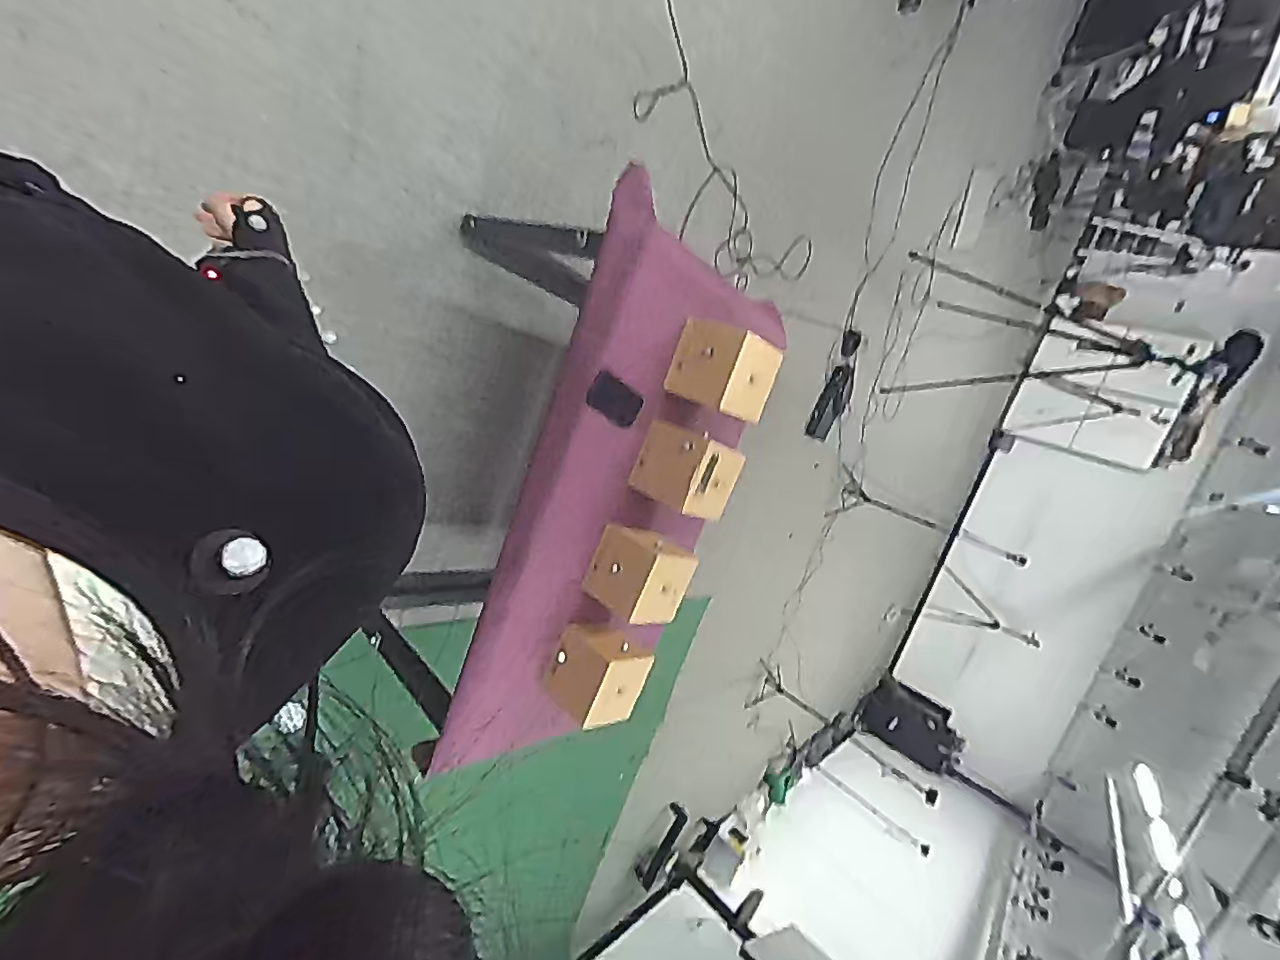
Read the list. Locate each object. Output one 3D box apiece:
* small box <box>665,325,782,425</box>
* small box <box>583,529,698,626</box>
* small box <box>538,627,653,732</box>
[{"bbox_3d":[0.183,-0.237,1.210,0.179,0.176,0.168,8,105,-52],"label":"small box"},{"bbox_3d":[-0.002,0.225,1.264,0.179,0.176,0.168,18,98,-52],"label":"small box"},{"bbox_3d":[-0.106,0.463,1.286,0.179,0.176,0.168,21,94,-52],"label":"small box"}]
